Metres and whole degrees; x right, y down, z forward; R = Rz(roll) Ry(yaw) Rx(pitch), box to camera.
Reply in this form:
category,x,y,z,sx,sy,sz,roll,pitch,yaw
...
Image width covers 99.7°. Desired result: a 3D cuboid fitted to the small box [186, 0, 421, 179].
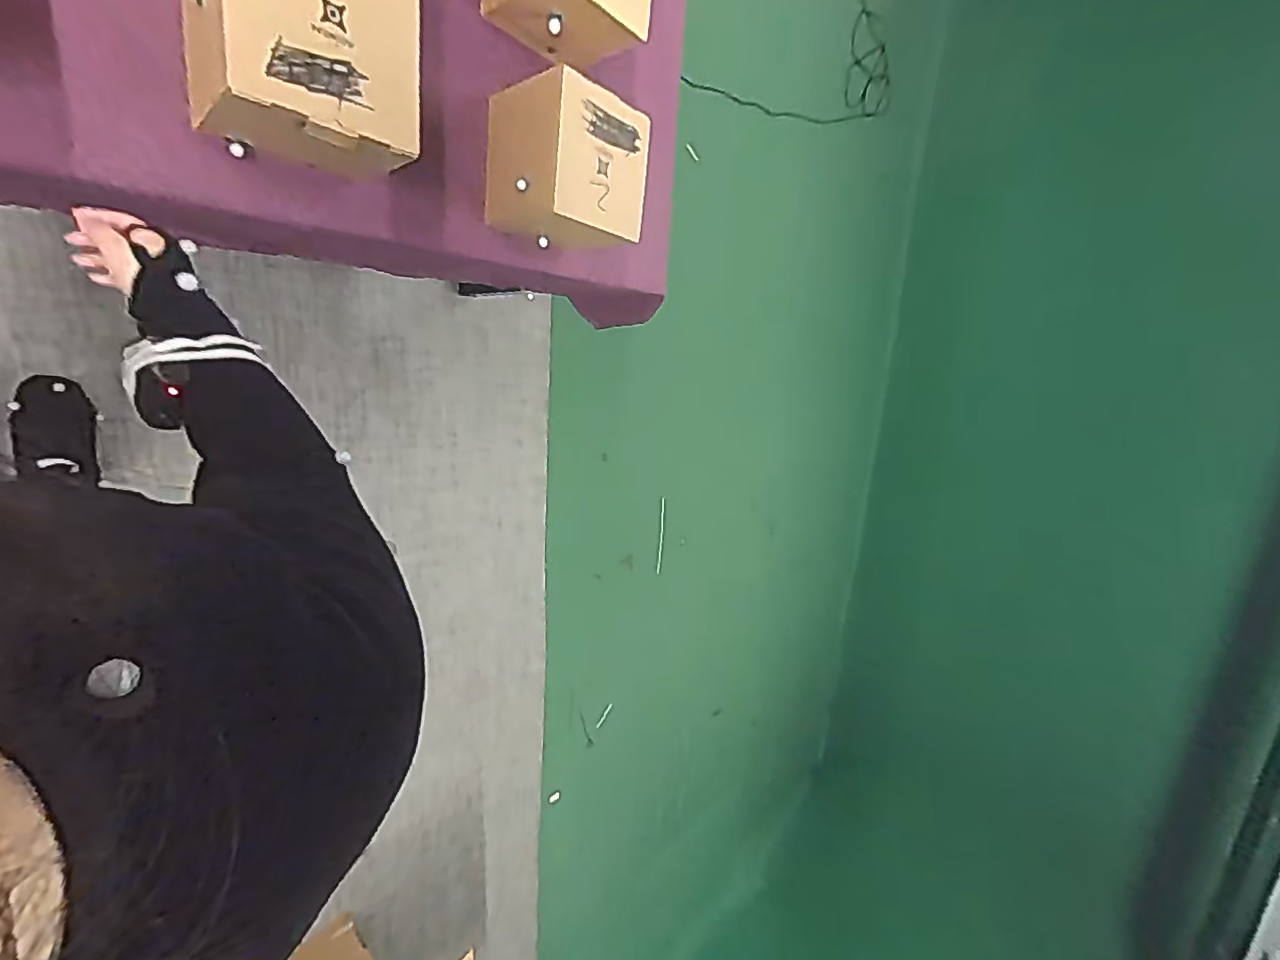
category,x,y,z,sx,sy,sz,roll,pitch,yaw
small box,-0.337,-0.429,0.544,0.168,0.176,0.179,-7,105,-46

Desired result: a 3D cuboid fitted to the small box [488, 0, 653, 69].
category,x,y,z,sx,sy,sz,roll,pitch,yaw
small box,-0.094,-0.705,0.730,0.168,0.176,0.179,-5,104,-46
